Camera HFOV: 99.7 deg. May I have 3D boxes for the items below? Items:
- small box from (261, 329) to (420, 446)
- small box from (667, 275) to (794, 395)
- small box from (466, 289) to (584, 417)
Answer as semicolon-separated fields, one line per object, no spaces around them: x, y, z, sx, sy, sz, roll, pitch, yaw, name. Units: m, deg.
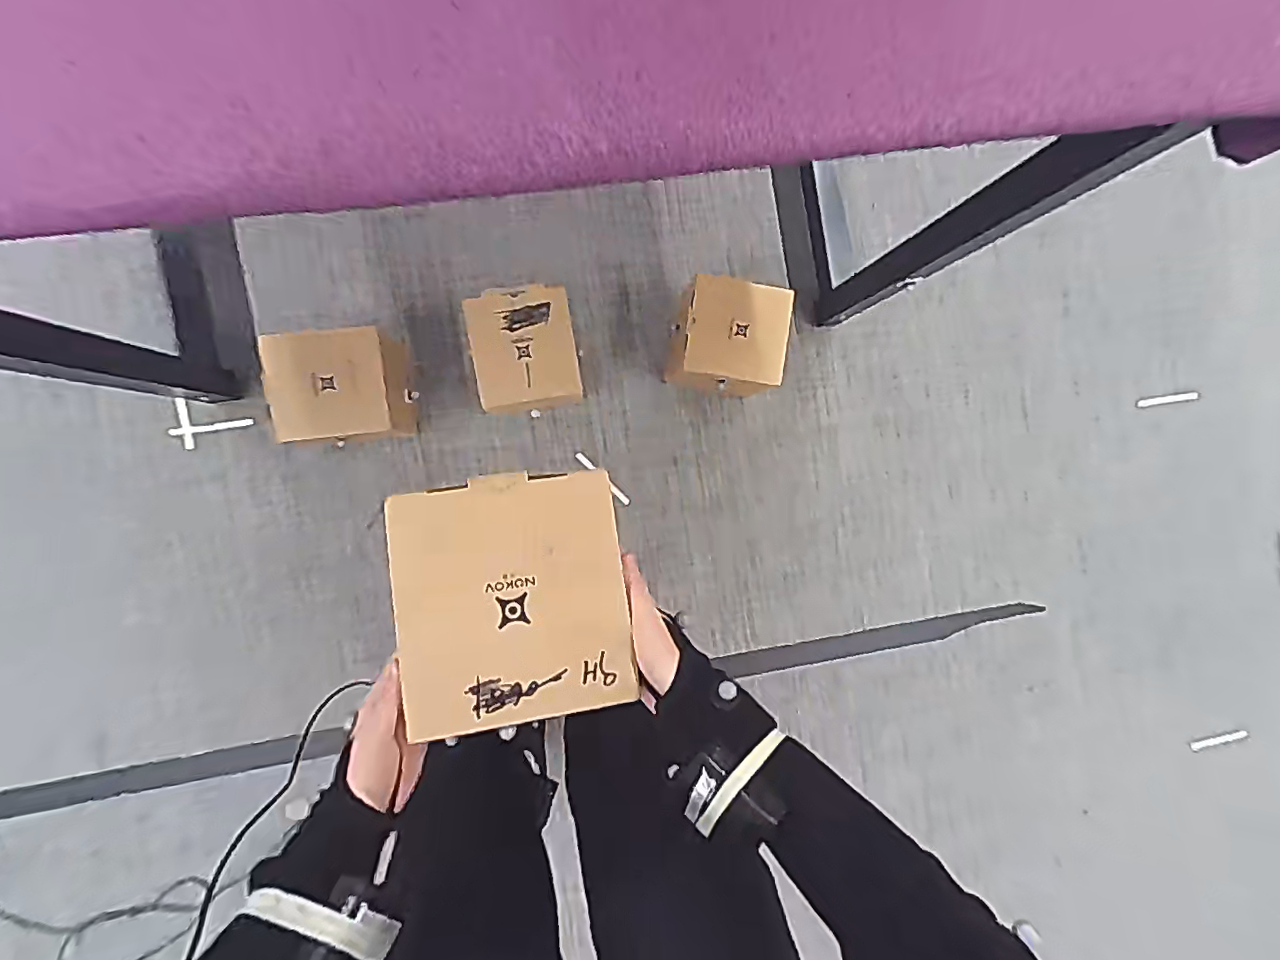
-0.492;-0.148;0.912;0.179;0.176;0.168;-7;93;-8;small box
0.157;-0.253;0.989;0.179;0.176;0.168;8;91;-6;small box
-0.195;-0.213;0.945;0.168;0.176;0.179;-10;94;-6;small box
